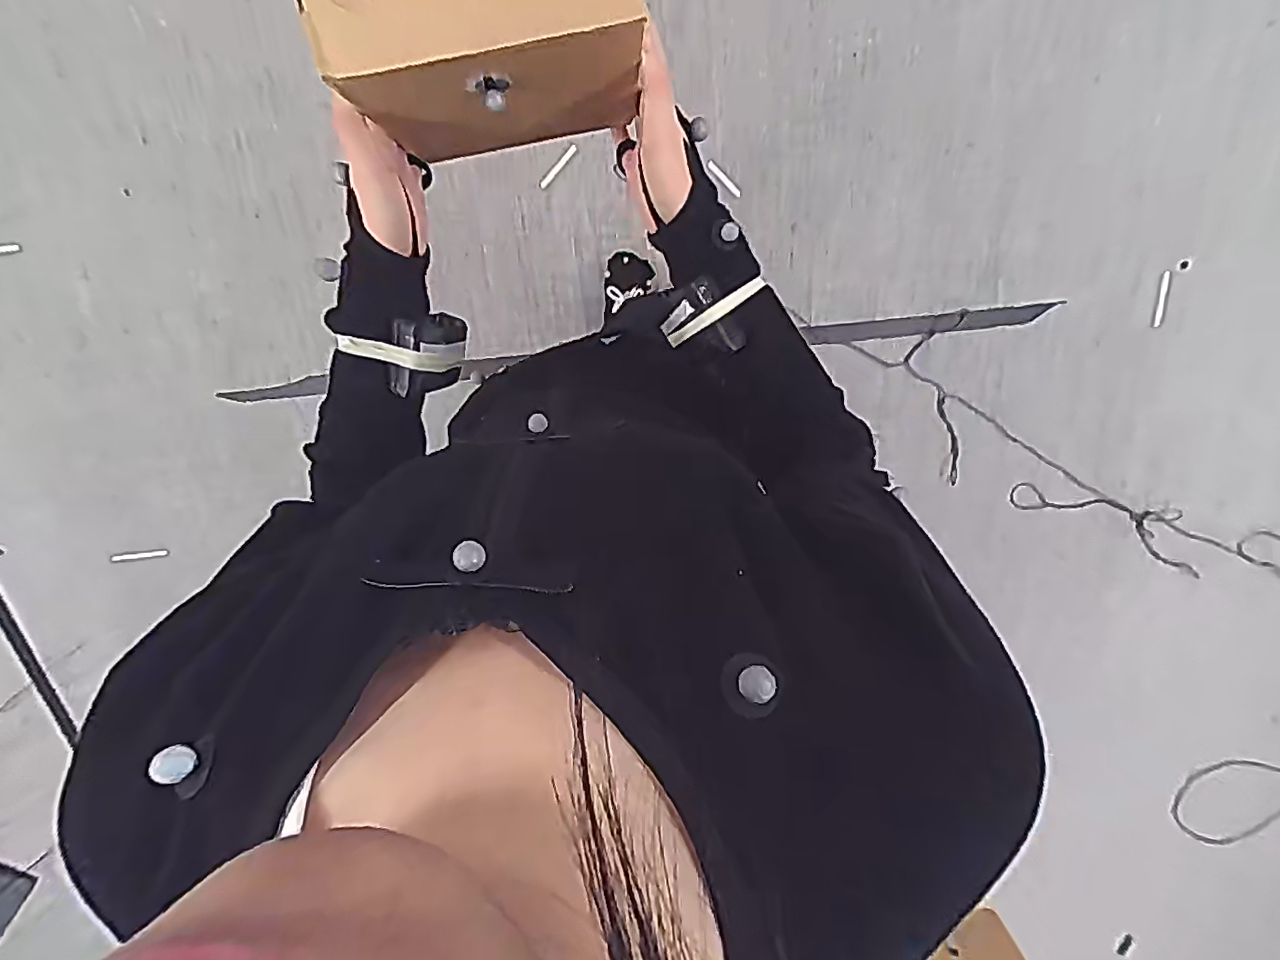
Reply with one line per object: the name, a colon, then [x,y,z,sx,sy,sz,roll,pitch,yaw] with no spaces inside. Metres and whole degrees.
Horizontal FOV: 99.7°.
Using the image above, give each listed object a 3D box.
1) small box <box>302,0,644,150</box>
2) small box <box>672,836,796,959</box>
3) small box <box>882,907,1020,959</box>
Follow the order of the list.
small box: [-0.099,-0.328,0.333,0.179,0.176,0.168,-11,108,-1]
small box: [0.157,0.747,0.925,0.179,0.176,0.168,-9,108,1]
small box: [0.464,0.763,0.776,0.179,0.176,0.168,-12,109,1]
